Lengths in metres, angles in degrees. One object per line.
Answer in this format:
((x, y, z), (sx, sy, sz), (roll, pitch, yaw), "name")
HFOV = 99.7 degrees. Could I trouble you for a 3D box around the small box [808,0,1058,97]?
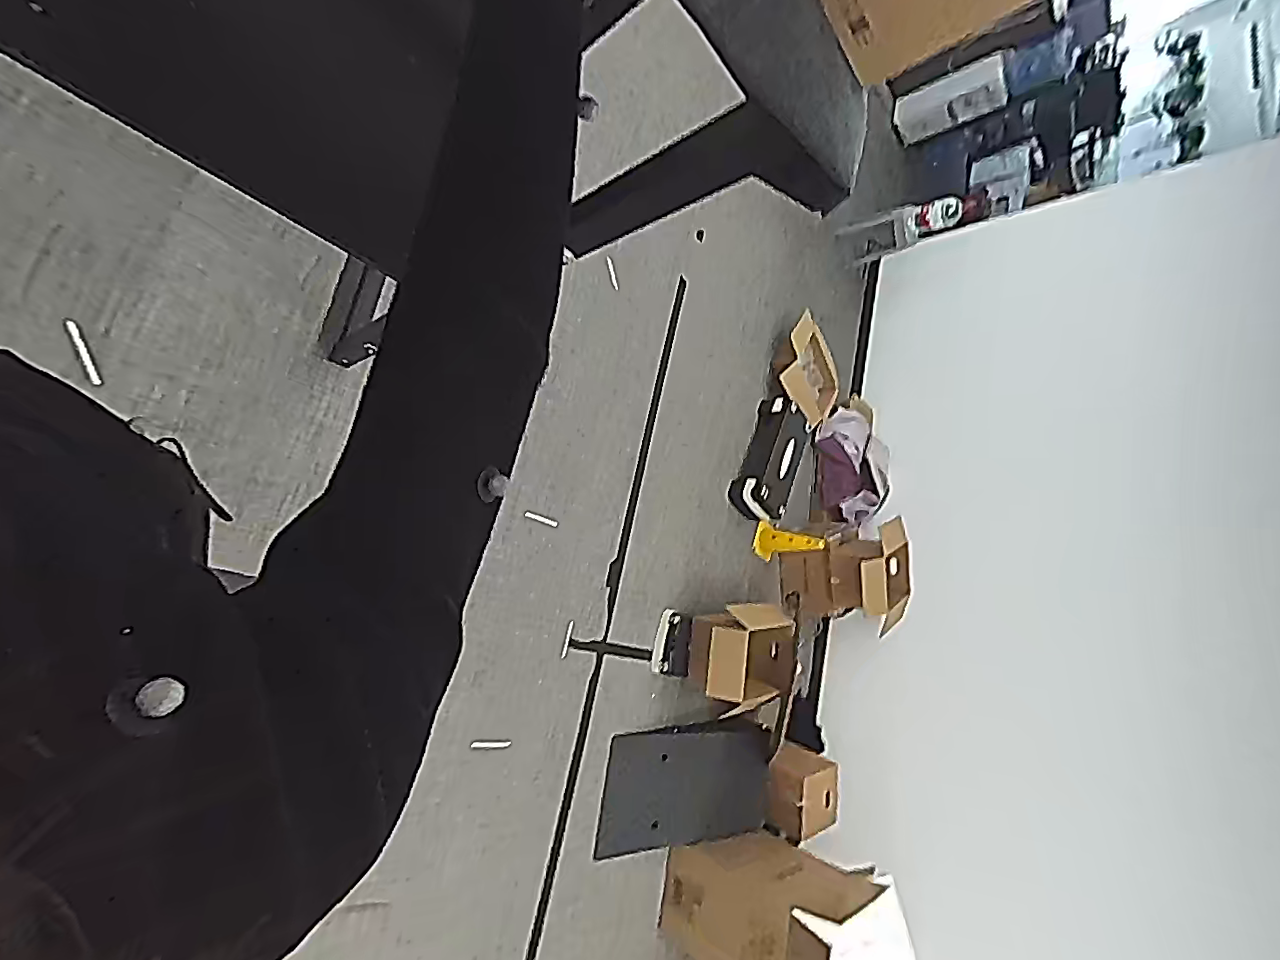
((0.236, -0.479, 0.443), (0.168, 0.176, 0.179), (25, 71, -42), "small box")
